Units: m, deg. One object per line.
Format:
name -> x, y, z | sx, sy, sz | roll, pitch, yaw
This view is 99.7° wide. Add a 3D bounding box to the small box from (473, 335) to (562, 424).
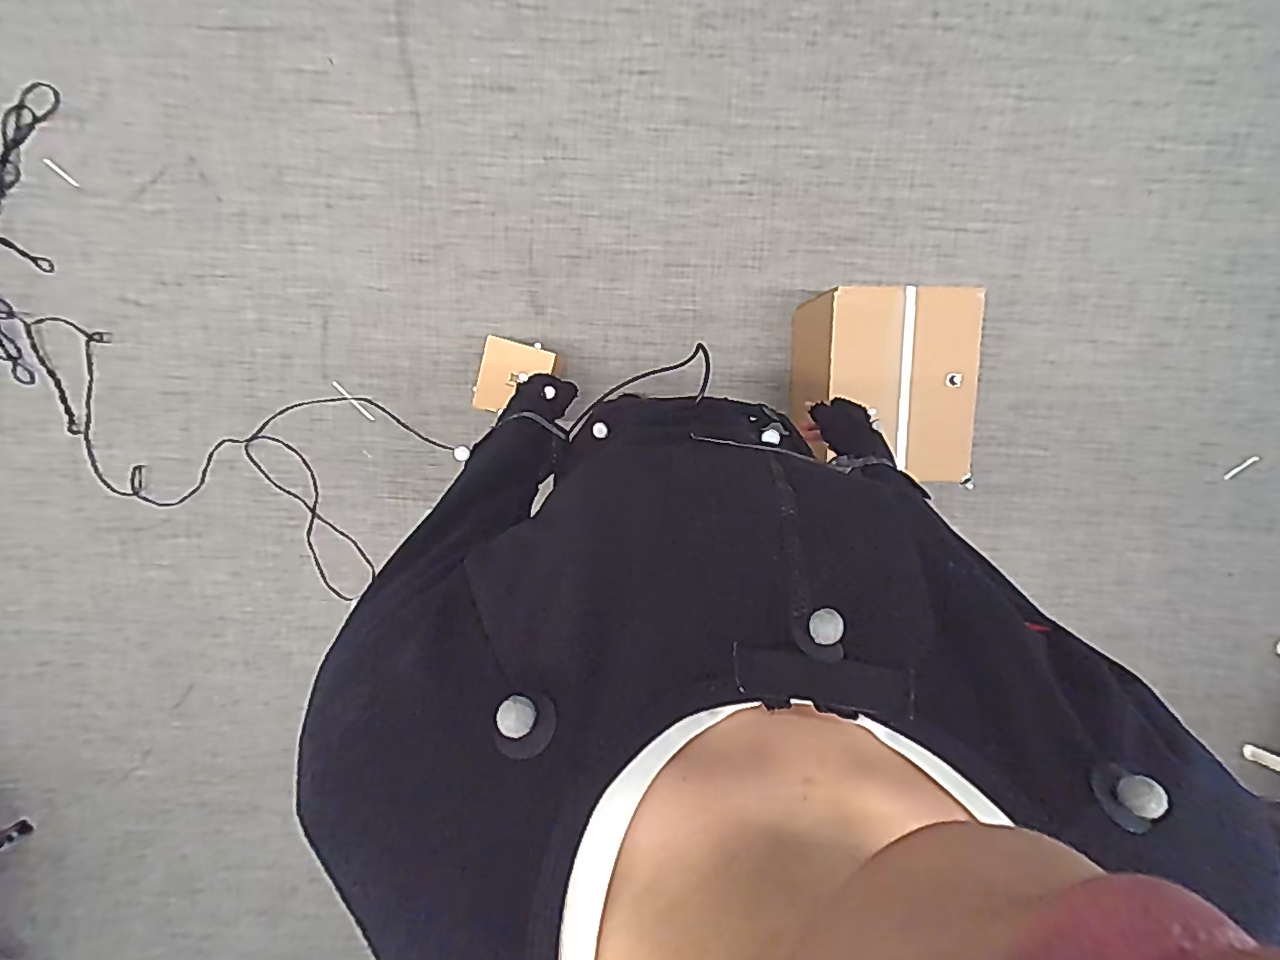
small box -> -0.299, -0.251, 1.357 | 0.168, 0.176, 0.179 | 15, 100, -2
